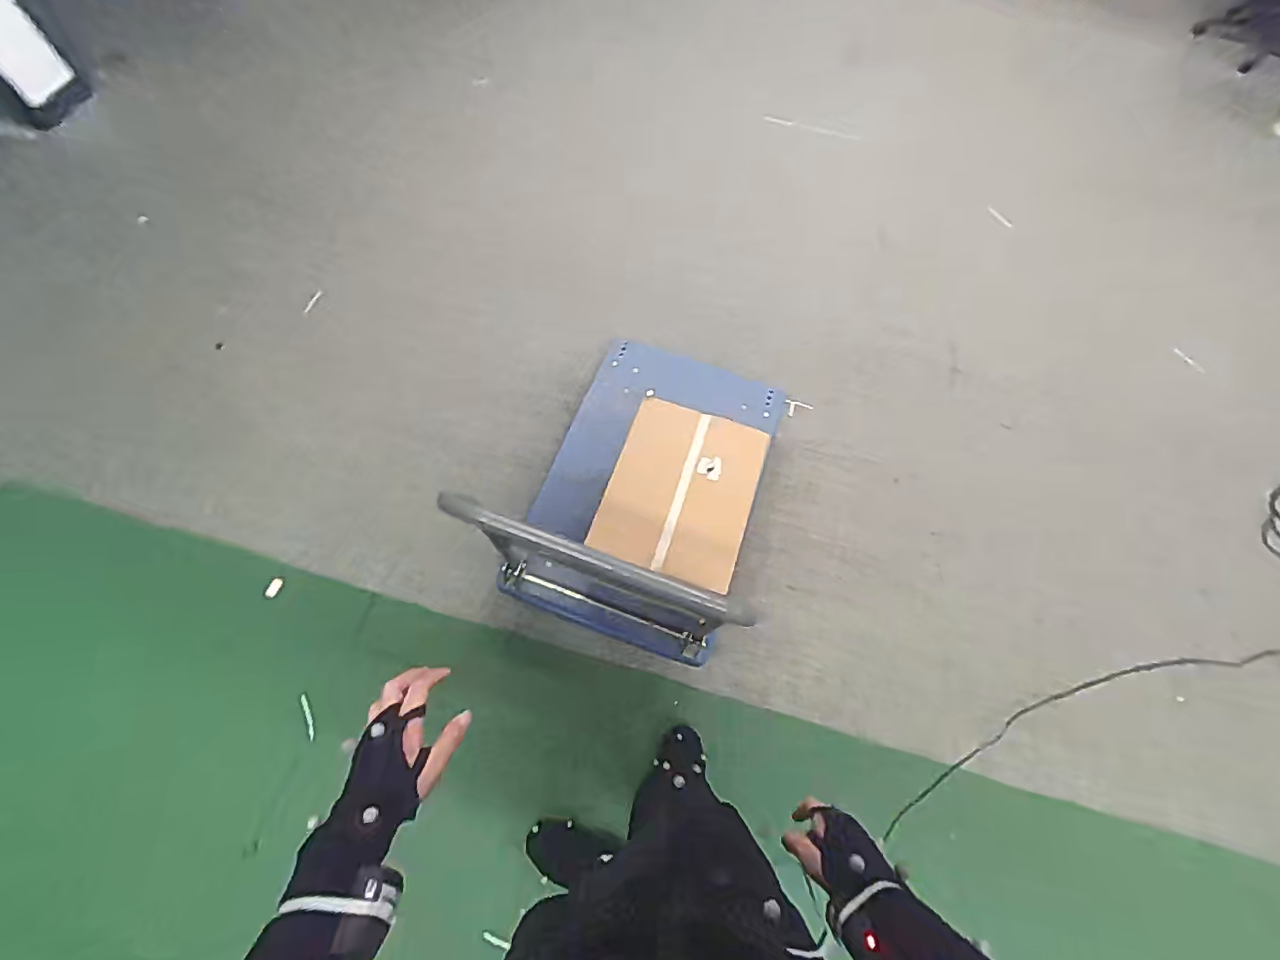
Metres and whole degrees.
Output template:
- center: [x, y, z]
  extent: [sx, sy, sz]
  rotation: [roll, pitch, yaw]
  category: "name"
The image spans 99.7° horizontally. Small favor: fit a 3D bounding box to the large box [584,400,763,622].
- center: [0.076, 0.086, 1.324]
  extent: [0.320, 0.320, 0.408]
  rotation: [19, 65, 4]
  category: "large box"
